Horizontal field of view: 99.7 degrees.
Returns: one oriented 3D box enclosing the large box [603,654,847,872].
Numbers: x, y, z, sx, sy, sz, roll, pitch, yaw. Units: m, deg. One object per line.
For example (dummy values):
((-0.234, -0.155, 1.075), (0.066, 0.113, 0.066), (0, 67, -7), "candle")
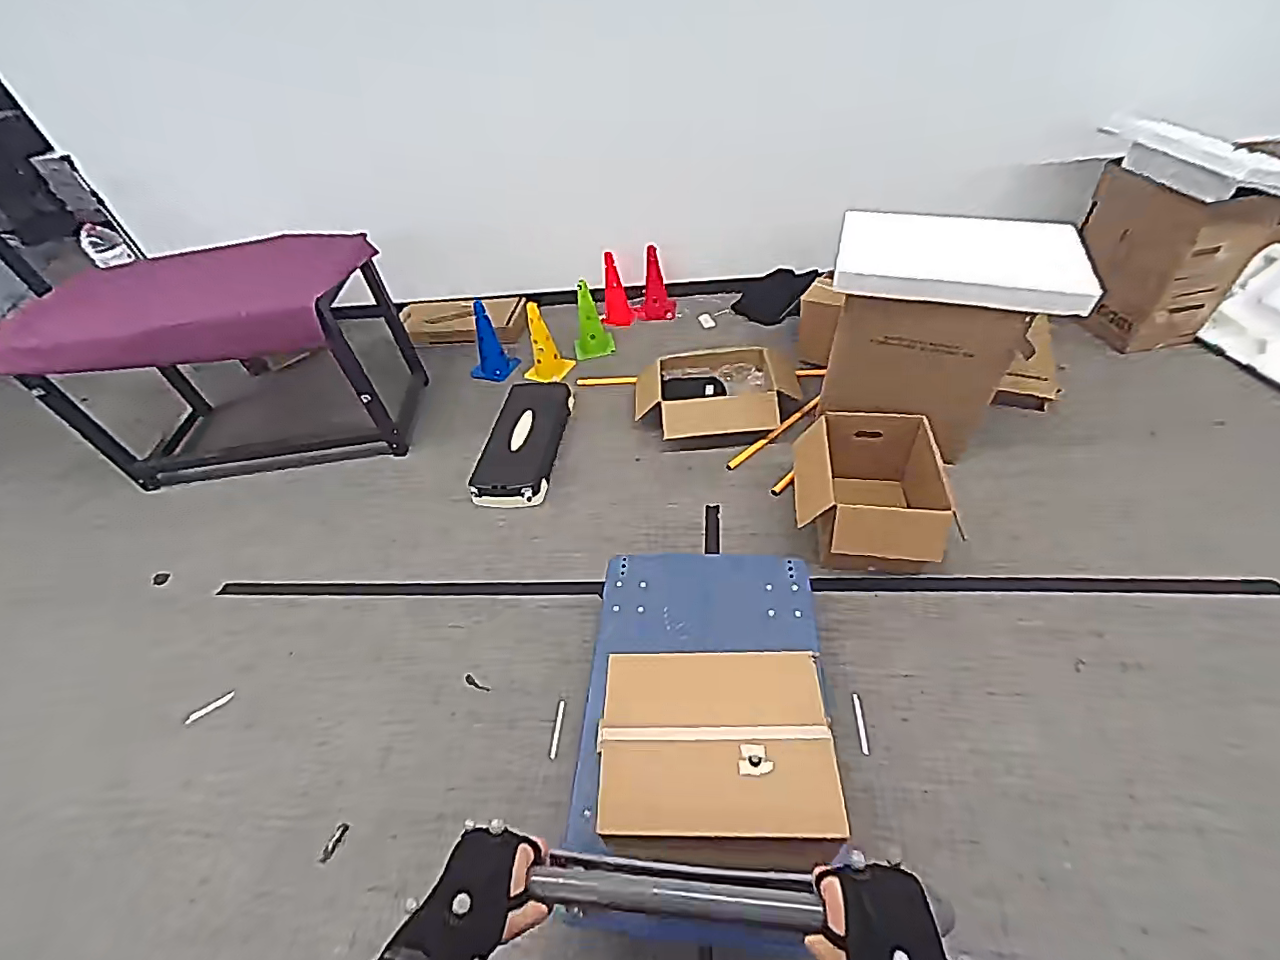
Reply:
((0.148, 0.568, 1.082), (0.408, 0.320, 0.320), (-2, 46, 5), "large box")
